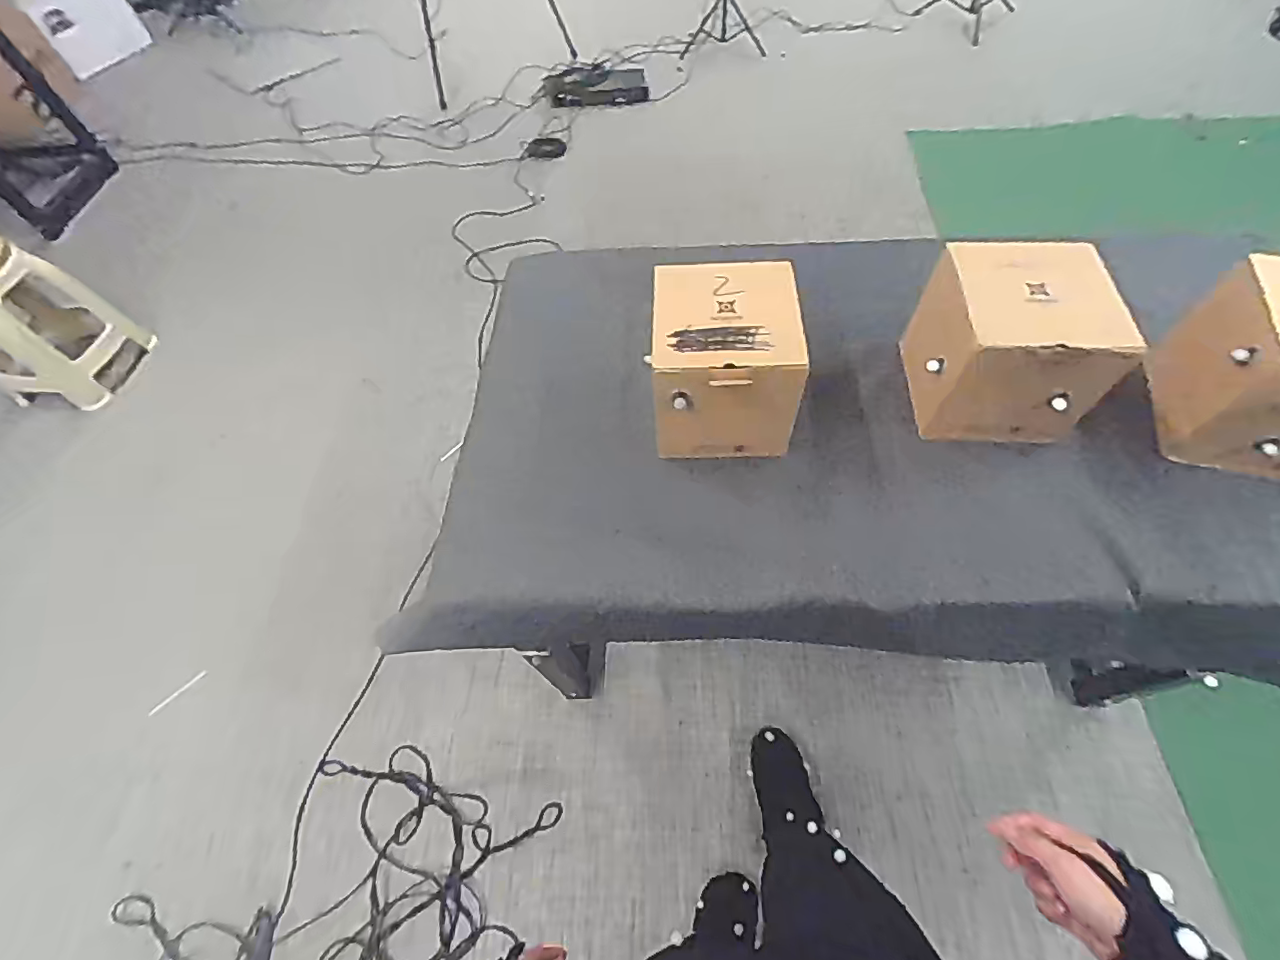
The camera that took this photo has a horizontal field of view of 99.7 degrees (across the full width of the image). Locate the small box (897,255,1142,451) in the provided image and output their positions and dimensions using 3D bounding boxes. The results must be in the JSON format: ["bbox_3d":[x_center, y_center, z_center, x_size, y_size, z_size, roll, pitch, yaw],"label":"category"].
[{"bbox_3d":[0.440,-0.151,0.666,0.168,0.176,0.179,3,57,4],"label":"small box"}]

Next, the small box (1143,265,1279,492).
[{"bbox_3d":[0.732,-0.110,0.619,0.168,0.176,0.179,13,60,12],"label":"small box"}]
